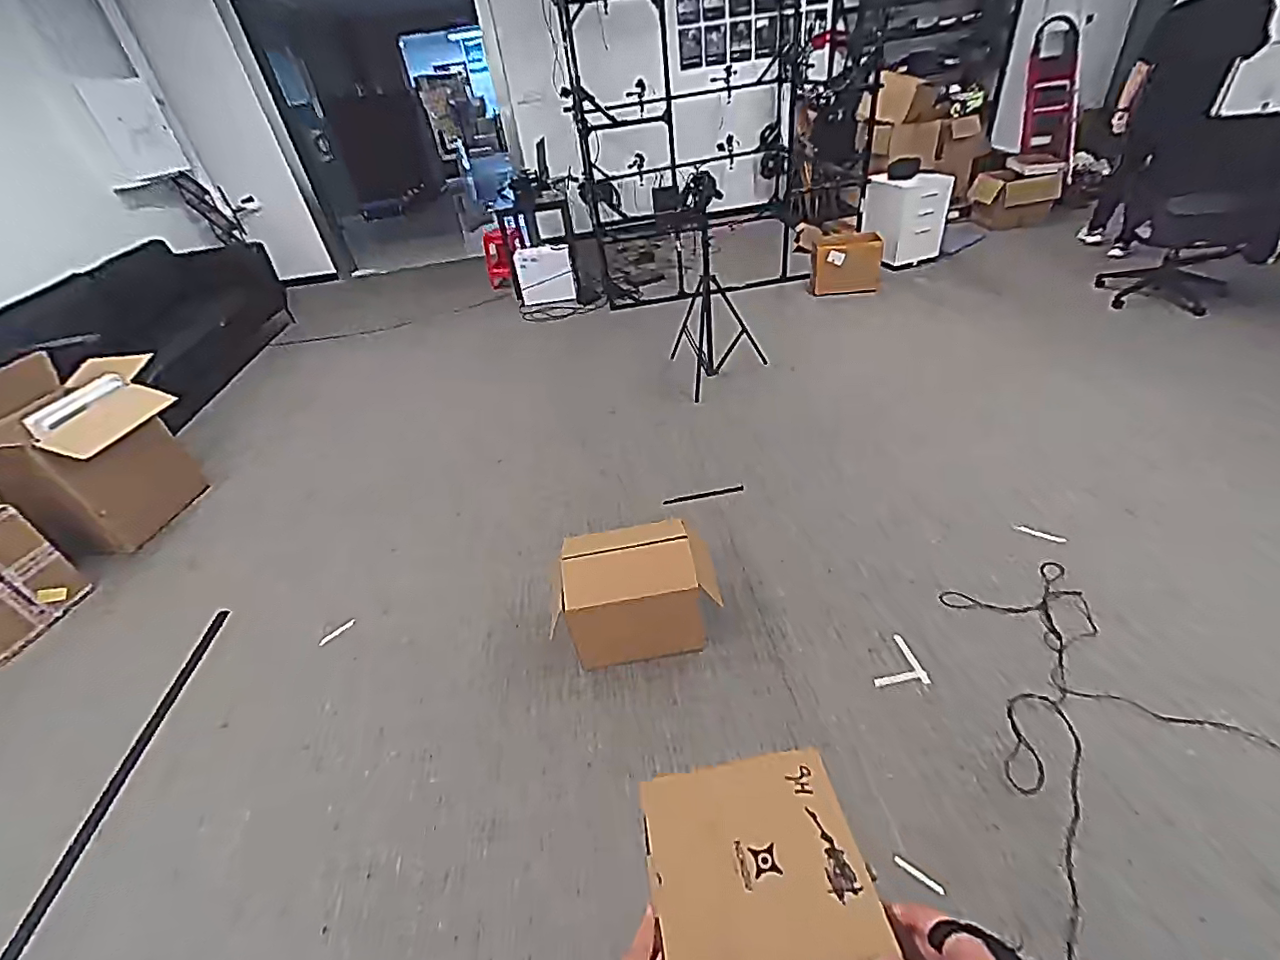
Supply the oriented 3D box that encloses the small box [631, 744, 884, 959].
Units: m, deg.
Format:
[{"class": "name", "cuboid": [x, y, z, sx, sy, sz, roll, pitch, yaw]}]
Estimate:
[{"class": "small box", "cuboid": [0.096, 0.382, 0.501, 0.179, 0.176, 0.168, -10, 35, -3]}]
